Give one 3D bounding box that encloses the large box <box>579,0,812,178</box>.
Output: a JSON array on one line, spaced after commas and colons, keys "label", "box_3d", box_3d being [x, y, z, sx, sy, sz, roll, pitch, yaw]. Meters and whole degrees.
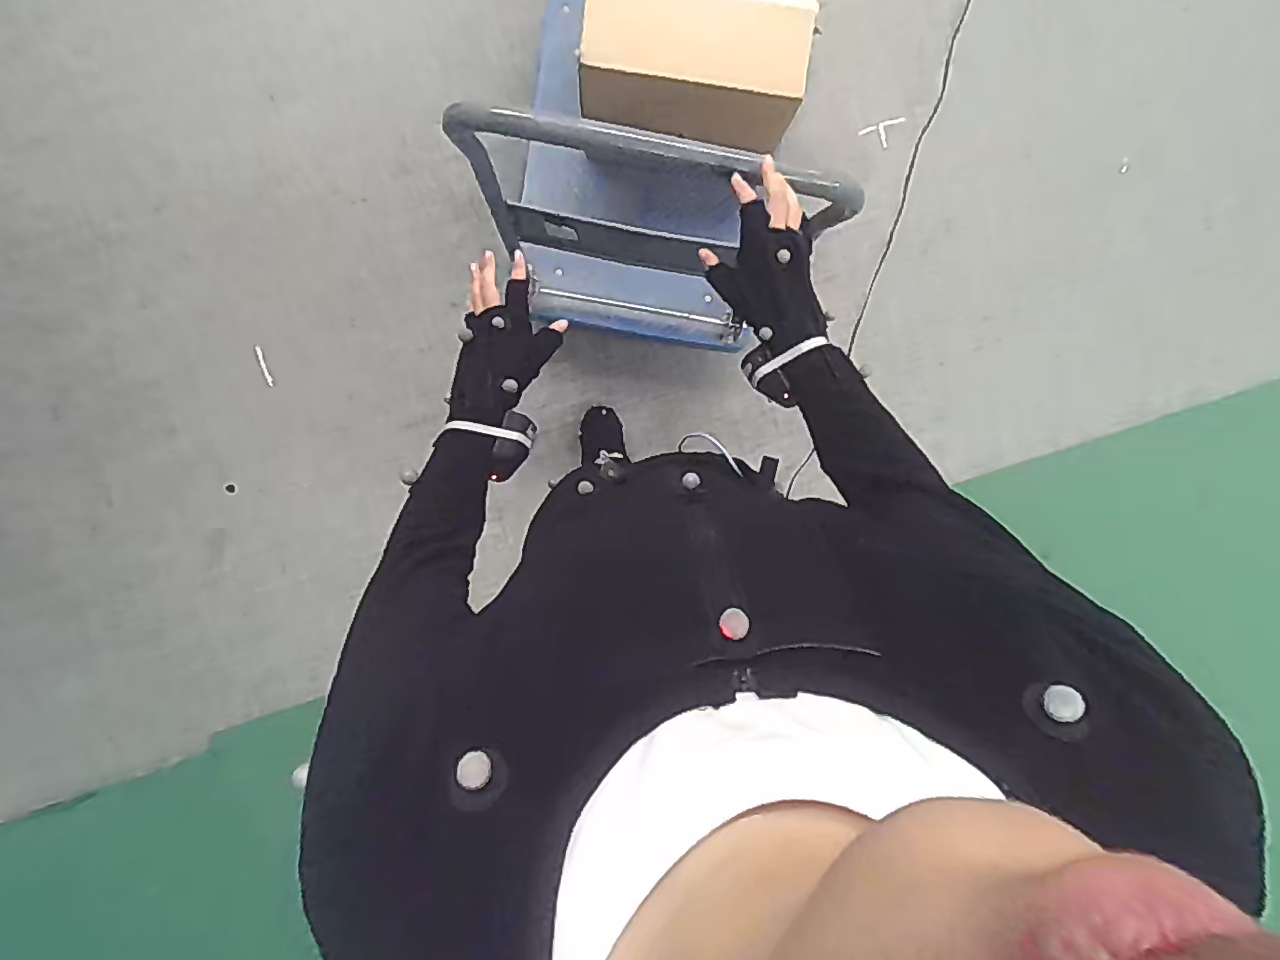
[{"label": "large box", "box_3d": [0.103, -0.859, 1.093, 0.408, 0.320, 0.320, 7, 92, -2]}]
